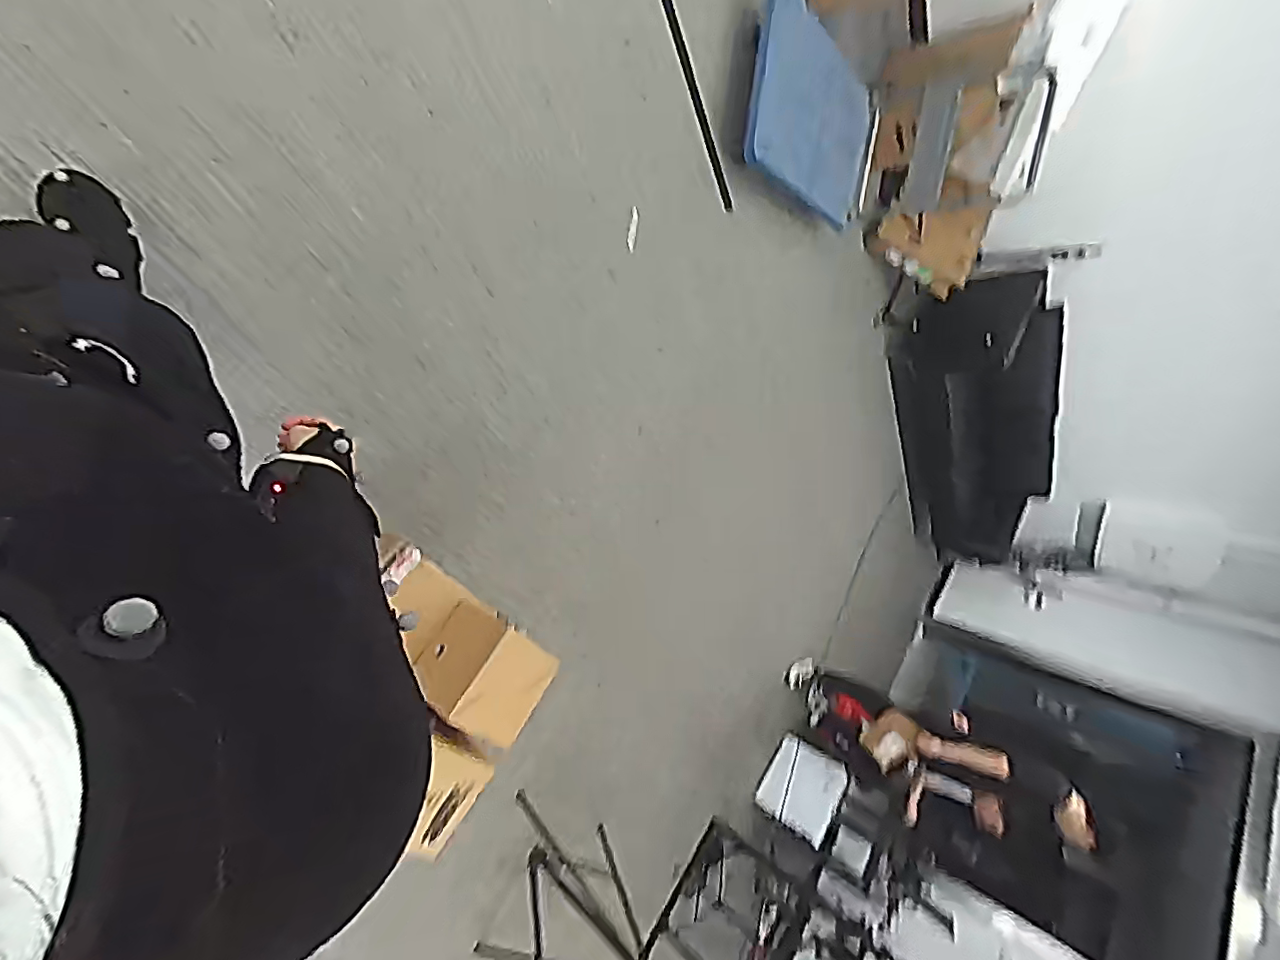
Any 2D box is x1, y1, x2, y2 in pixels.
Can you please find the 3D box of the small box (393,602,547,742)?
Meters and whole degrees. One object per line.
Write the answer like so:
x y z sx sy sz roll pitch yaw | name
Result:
-0.312 0.362 1.012 0.179 0.176 0.168 -56 134 -23 | small box
